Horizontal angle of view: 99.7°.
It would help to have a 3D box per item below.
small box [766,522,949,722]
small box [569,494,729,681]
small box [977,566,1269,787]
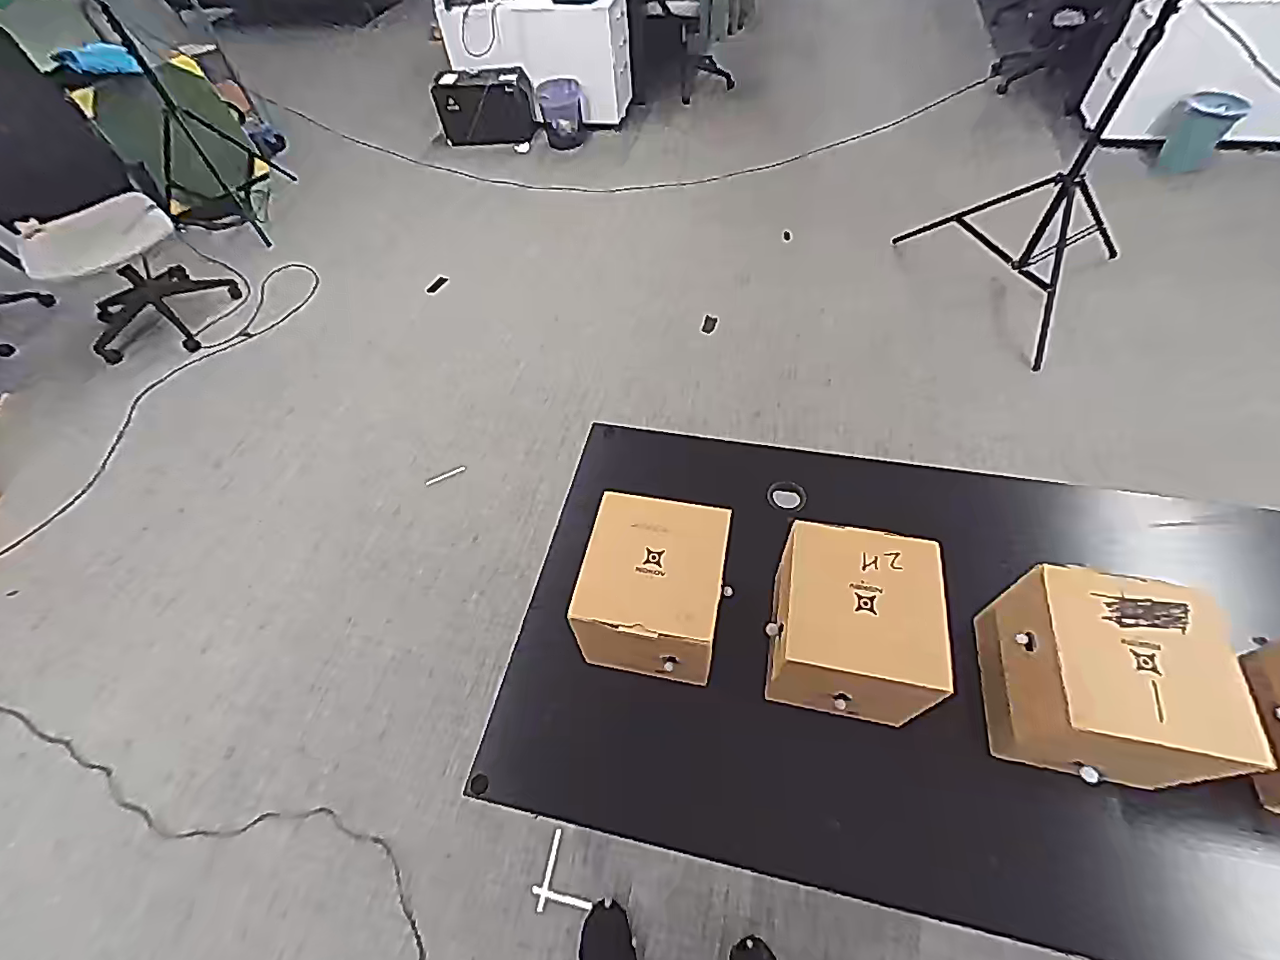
[{"bbox_3d":[0.252,0.178,0.661,0.168,0.176,0.179,9,55,10],"label":"small box"},{"bbox_3d":[0.019,0.144,0.706,0.168,0.176,0.179,8,54,8],"label":"small box"},{"bbox_3d":[0.508,0.224,0.609,0.168,0.176,0.179,8,56,10],"label":"small box"}]
